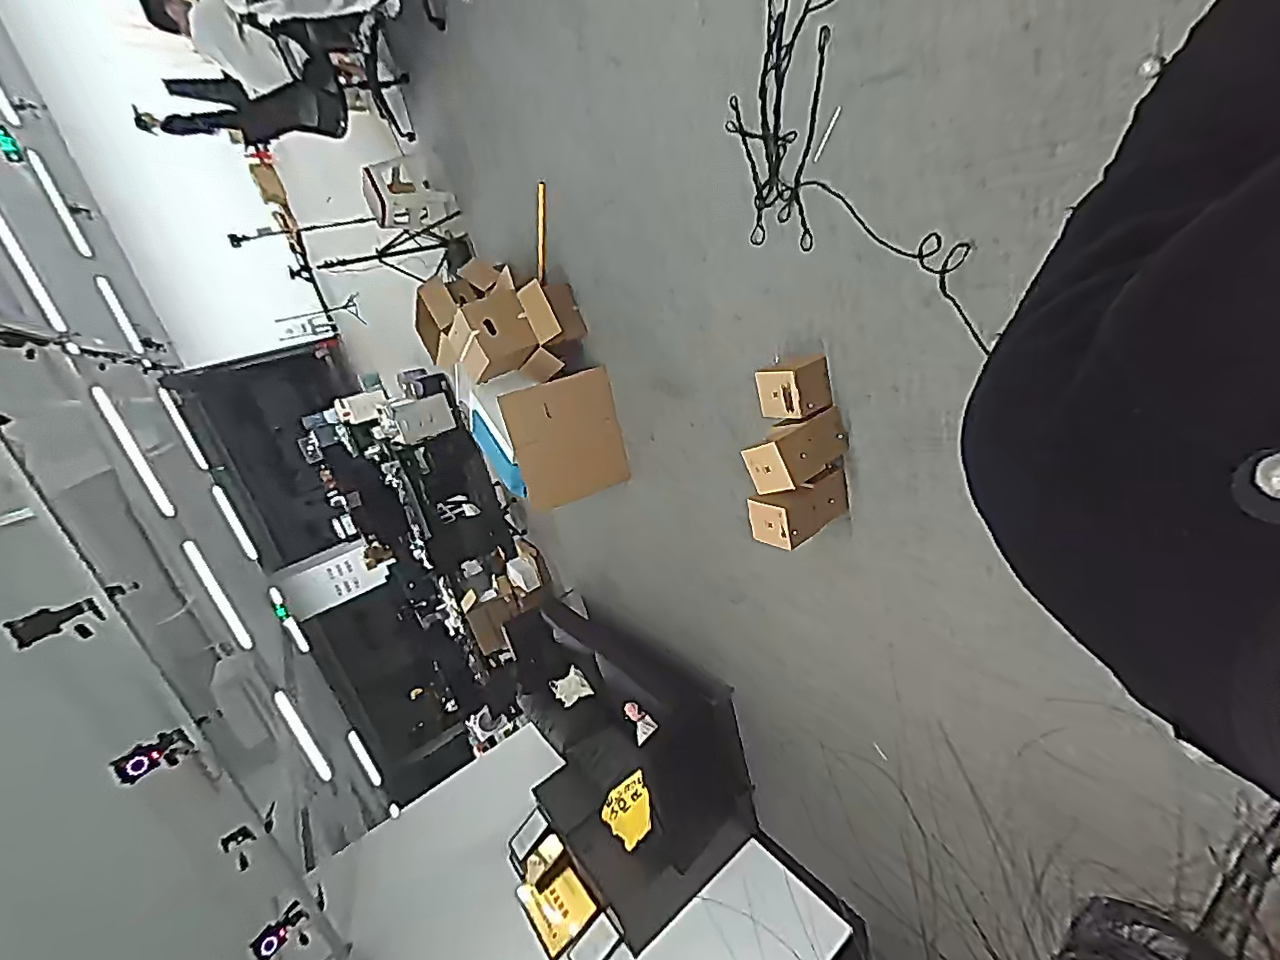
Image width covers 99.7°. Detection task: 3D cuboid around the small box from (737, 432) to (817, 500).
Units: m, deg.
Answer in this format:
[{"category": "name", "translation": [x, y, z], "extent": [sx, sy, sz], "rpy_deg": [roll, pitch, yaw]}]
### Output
[{"category": "small box", "translation": [0.466, -0.047, 1.815], "extent": [0.179, 0.176, 0.168], "rpy_deg": [-16, 99, 61]}]

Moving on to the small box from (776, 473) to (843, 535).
[{"category": "small box", "translation": [0.622, 0.077, 1.991], "extent": [0.168, 0.176, 0.179], "rpy_deg": [14, 124, 54]}]
